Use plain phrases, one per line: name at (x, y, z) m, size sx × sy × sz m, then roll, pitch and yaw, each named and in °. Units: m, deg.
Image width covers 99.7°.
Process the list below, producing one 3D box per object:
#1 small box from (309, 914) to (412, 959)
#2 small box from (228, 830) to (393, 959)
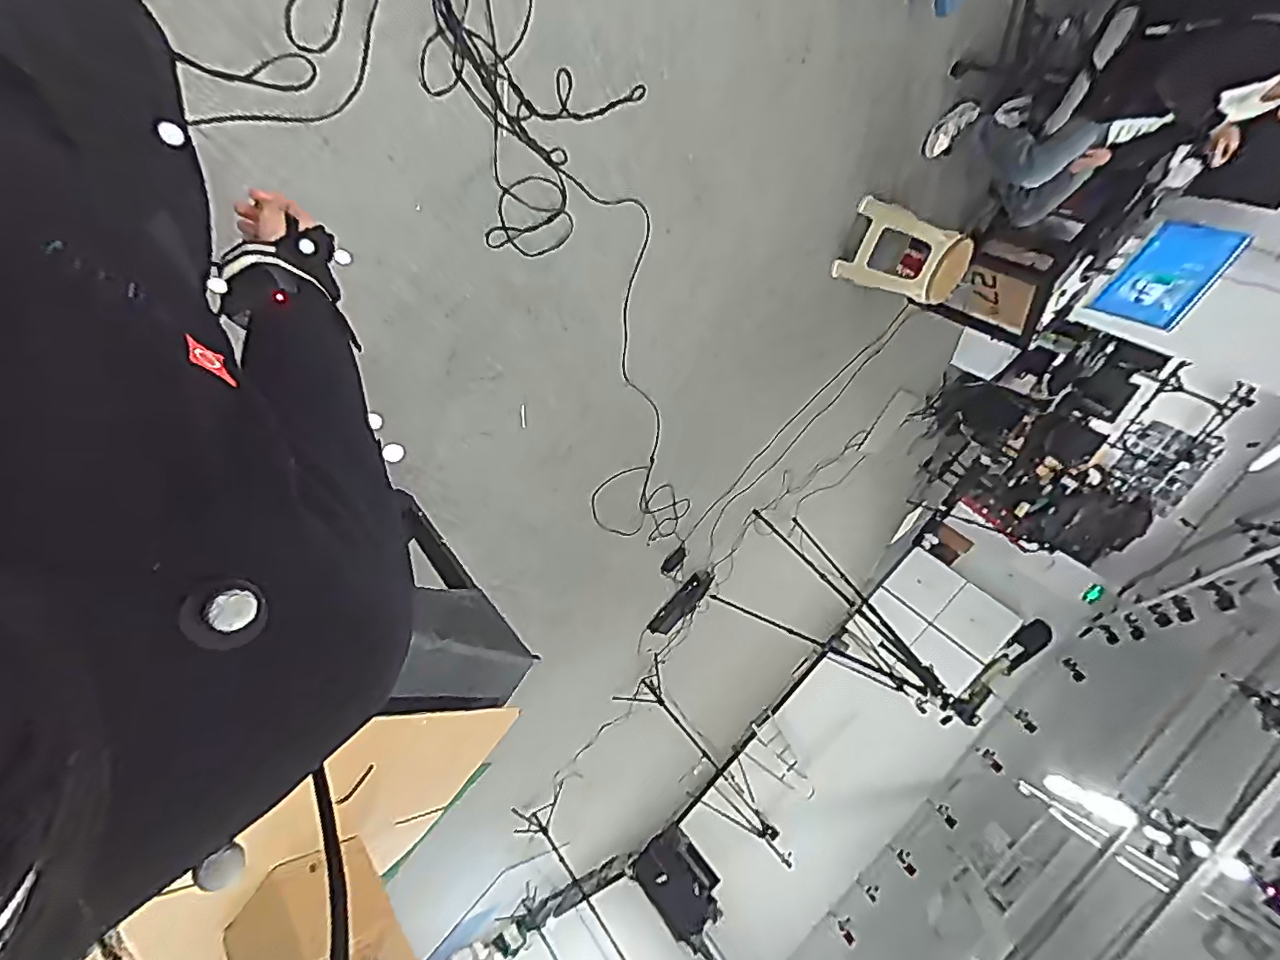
small box at (-0.474, 0.866, 0.872) m, size 0.179 × 0.176 × 0.168 m, roll -53°, pitch 152°, yaw 8°
small box at (-0.582, 0.768, 0.949) m, size 0.179 × 0.176 × 0.168 m, roll -53°, pitch 152°, yaw 7°
